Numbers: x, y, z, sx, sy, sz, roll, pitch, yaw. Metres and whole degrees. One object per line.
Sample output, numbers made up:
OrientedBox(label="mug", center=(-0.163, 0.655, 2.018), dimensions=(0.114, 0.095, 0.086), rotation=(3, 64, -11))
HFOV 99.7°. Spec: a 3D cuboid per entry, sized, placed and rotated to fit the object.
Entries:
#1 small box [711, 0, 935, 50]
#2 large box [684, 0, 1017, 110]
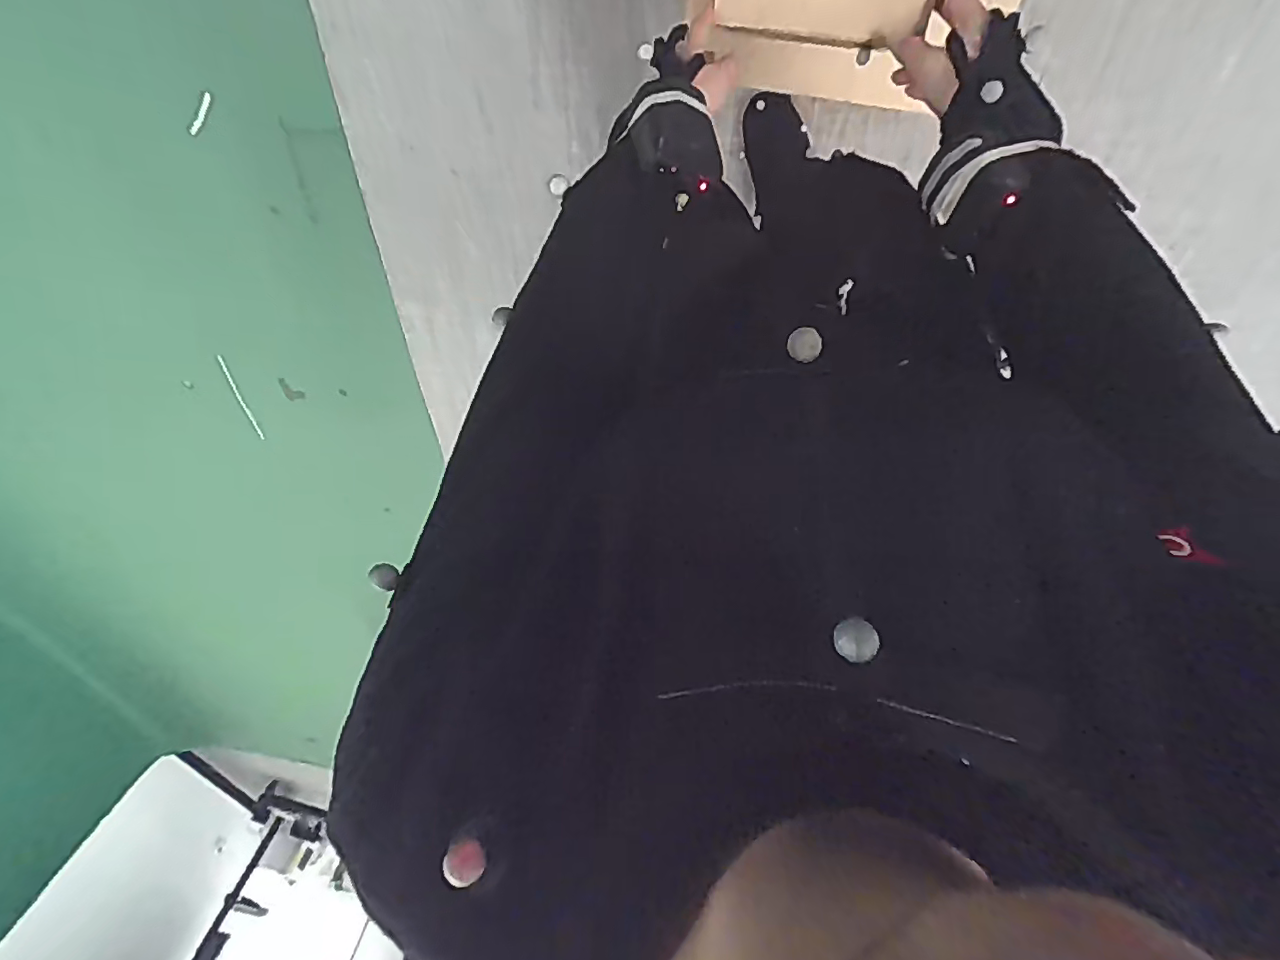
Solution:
OrientedBox(label="small box", center=(0.164, -0.478, 0.457), dimensions=(0.179, 0.176, 0.168), rotation=(9, 128, 4))
OrientedBox(label="large box", center=(0.289, -0.739, 0.754), dimensions=(0.408, 0.320, 0.320), rotation=(10, 132, 3))
